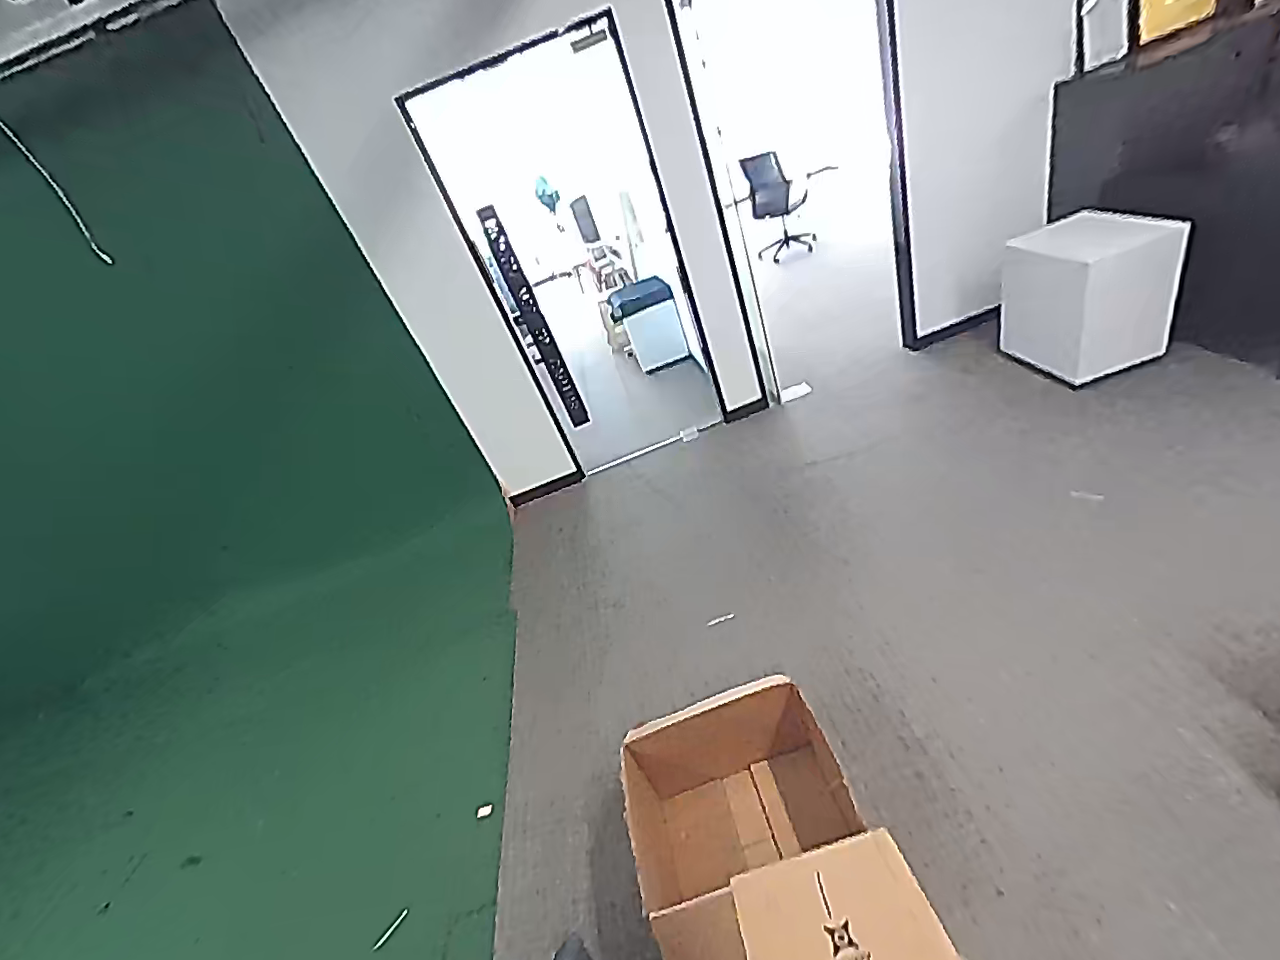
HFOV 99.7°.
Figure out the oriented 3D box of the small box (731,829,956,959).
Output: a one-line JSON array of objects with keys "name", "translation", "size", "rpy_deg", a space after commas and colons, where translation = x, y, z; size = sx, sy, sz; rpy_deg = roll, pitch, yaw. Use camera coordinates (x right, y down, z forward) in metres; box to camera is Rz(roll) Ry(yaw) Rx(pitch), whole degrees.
[{"name": "small box", "translation": [0.197, 0.467, 0.478], "size": [0.168, 0.176, 0.179], "rpy_deg": [-18, 15, 2]}]
